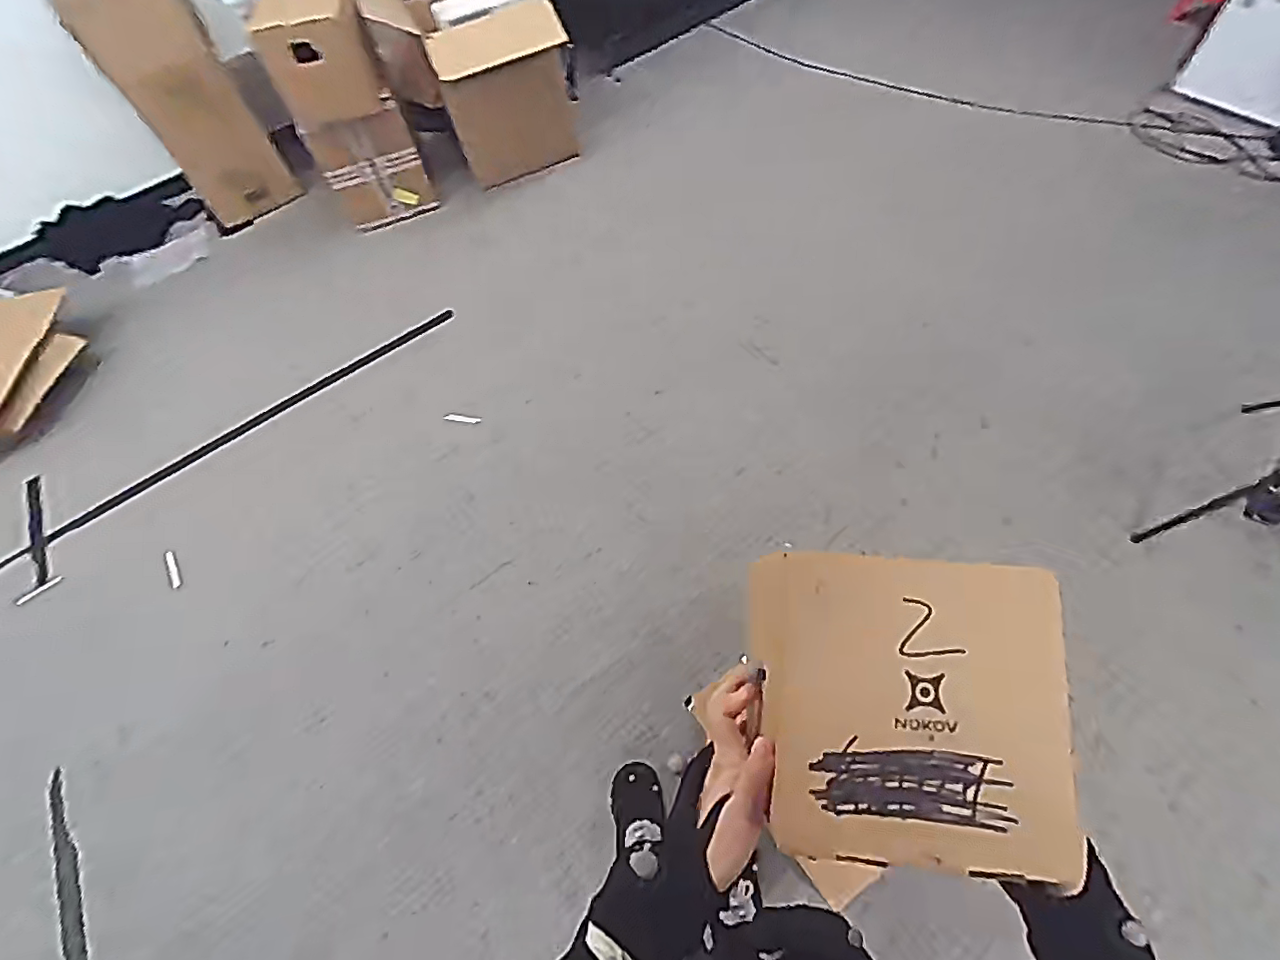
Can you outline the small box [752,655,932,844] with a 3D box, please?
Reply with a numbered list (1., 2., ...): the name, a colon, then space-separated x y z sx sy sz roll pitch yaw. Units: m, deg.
1. small box: 0.279 0.389 0.794 0.179 0.176 0.168 -36 62 -11
